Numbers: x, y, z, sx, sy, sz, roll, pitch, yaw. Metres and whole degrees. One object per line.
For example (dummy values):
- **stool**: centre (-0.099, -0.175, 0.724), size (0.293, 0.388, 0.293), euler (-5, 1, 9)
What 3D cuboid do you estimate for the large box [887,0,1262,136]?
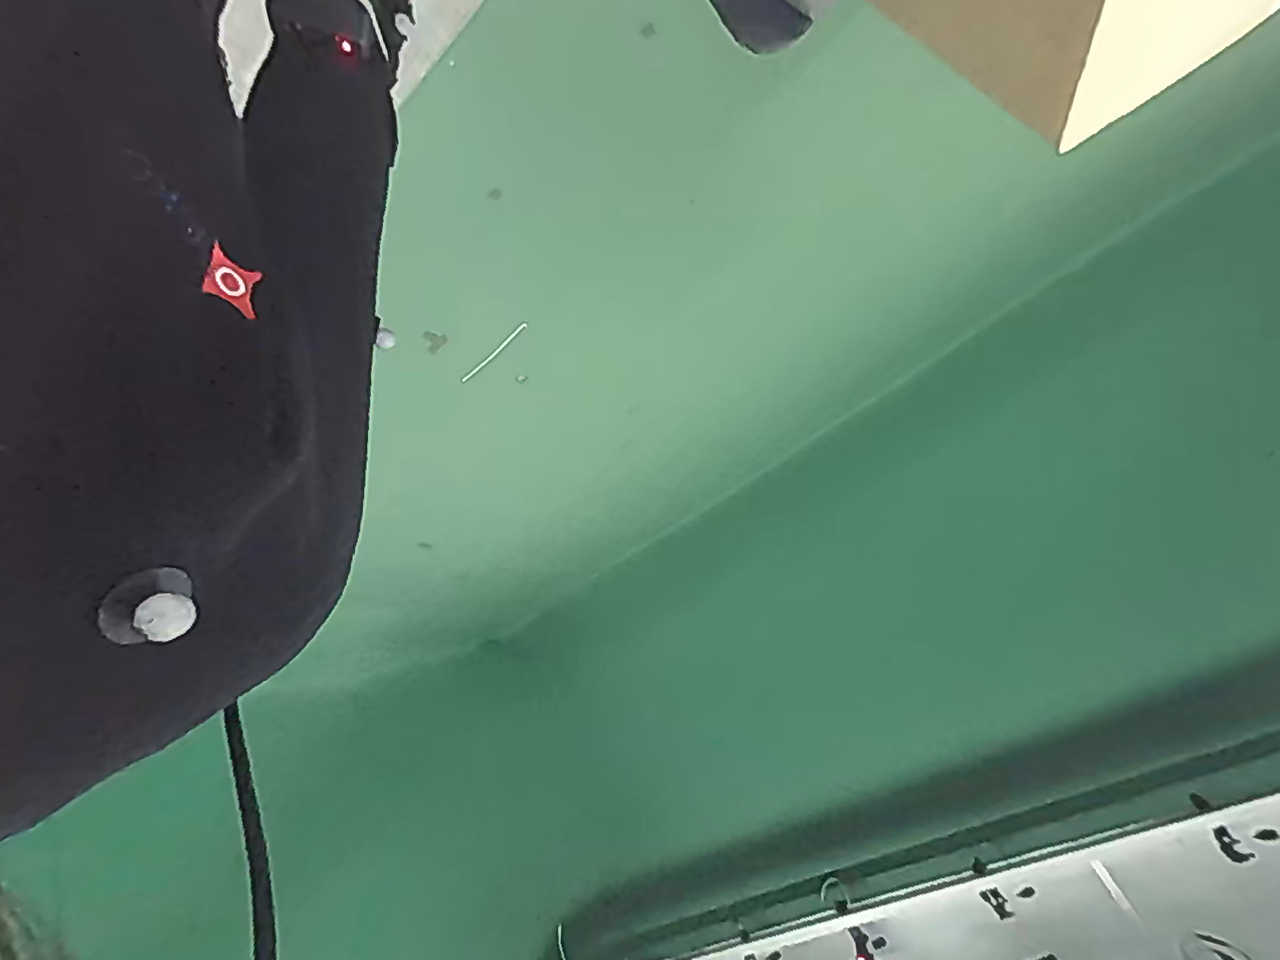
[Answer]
- **large box**: centre (0.312, -0.522, 0.288), size (0.320, 0.320, 0.408), euler (-33, 157, 16)
